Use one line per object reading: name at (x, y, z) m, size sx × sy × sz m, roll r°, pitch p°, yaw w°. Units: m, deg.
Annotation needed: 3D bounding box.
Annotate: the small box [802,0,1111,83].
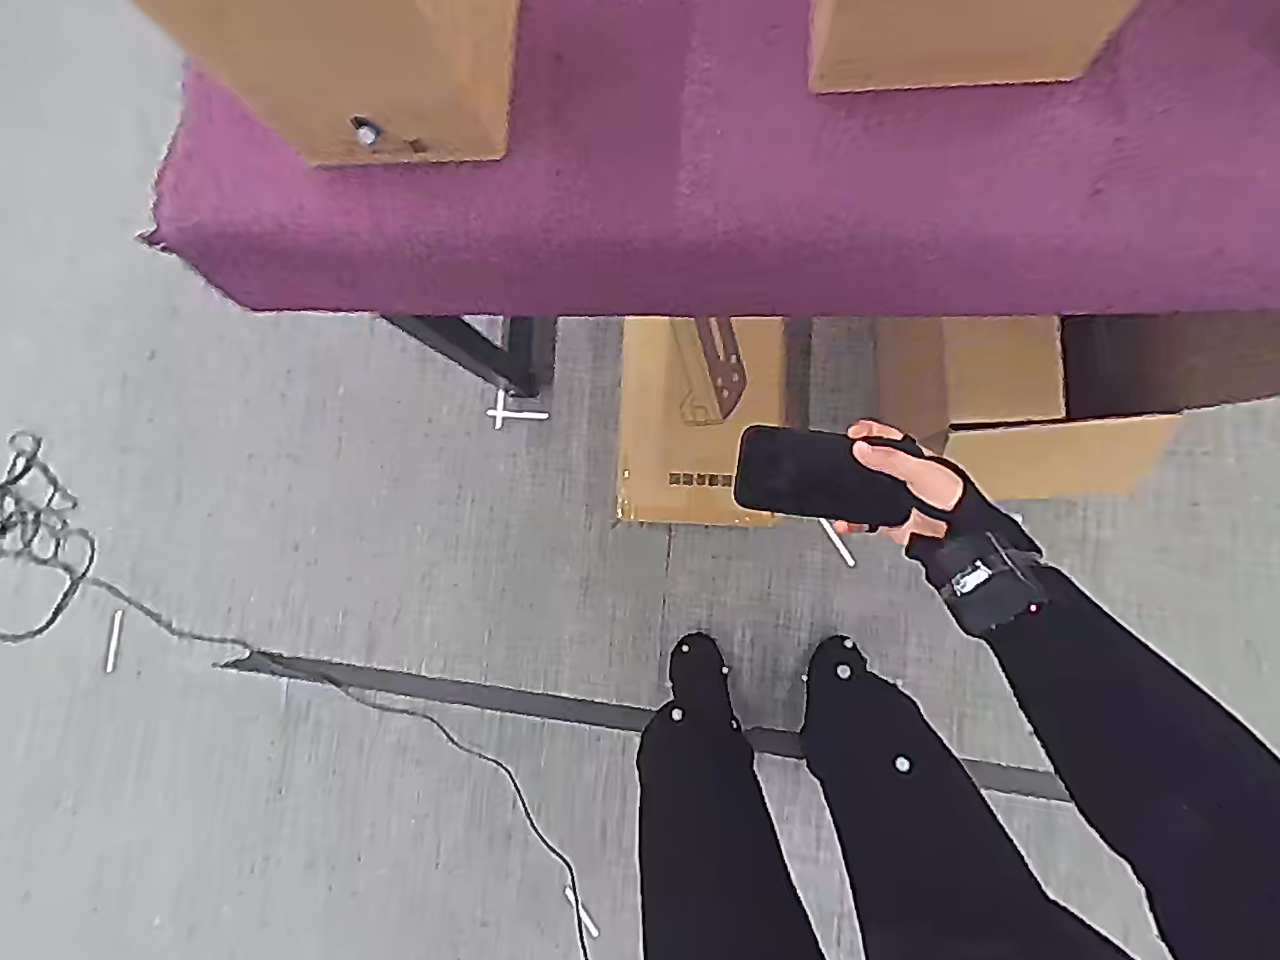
small box at (0.197, -0.363, 0.300) m, size 0.179 × 0.176 × 0.168 m, roll 2°, pitch 84°, yaw 8°
